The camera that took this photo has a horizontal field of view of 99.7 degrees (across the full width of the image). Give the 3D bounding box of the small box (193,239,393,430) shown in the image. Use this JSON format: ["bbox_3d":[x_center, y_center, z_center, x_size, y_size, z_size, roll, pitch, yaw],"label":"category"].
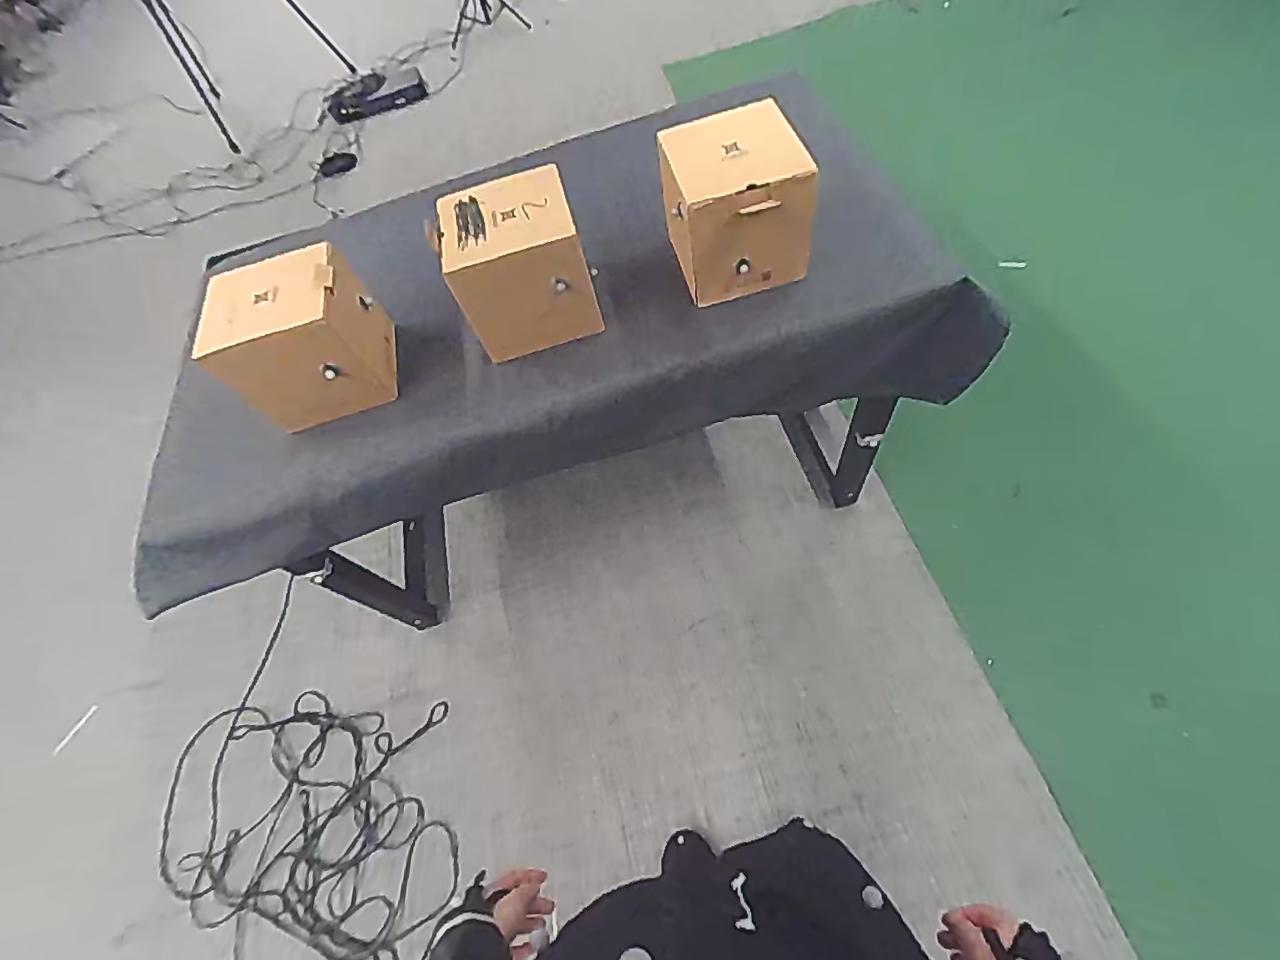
[{"bbox_3d":[-0.474,-0.200,0.771,0.179,0.176,0.168,-18,59,1],"label":"small box"}]

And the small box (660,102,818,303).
[{"bbox_3d":[0.132,-0.387,0.767,0.168,0.176,0.179,-15,60,2],"label":"small box"}]
